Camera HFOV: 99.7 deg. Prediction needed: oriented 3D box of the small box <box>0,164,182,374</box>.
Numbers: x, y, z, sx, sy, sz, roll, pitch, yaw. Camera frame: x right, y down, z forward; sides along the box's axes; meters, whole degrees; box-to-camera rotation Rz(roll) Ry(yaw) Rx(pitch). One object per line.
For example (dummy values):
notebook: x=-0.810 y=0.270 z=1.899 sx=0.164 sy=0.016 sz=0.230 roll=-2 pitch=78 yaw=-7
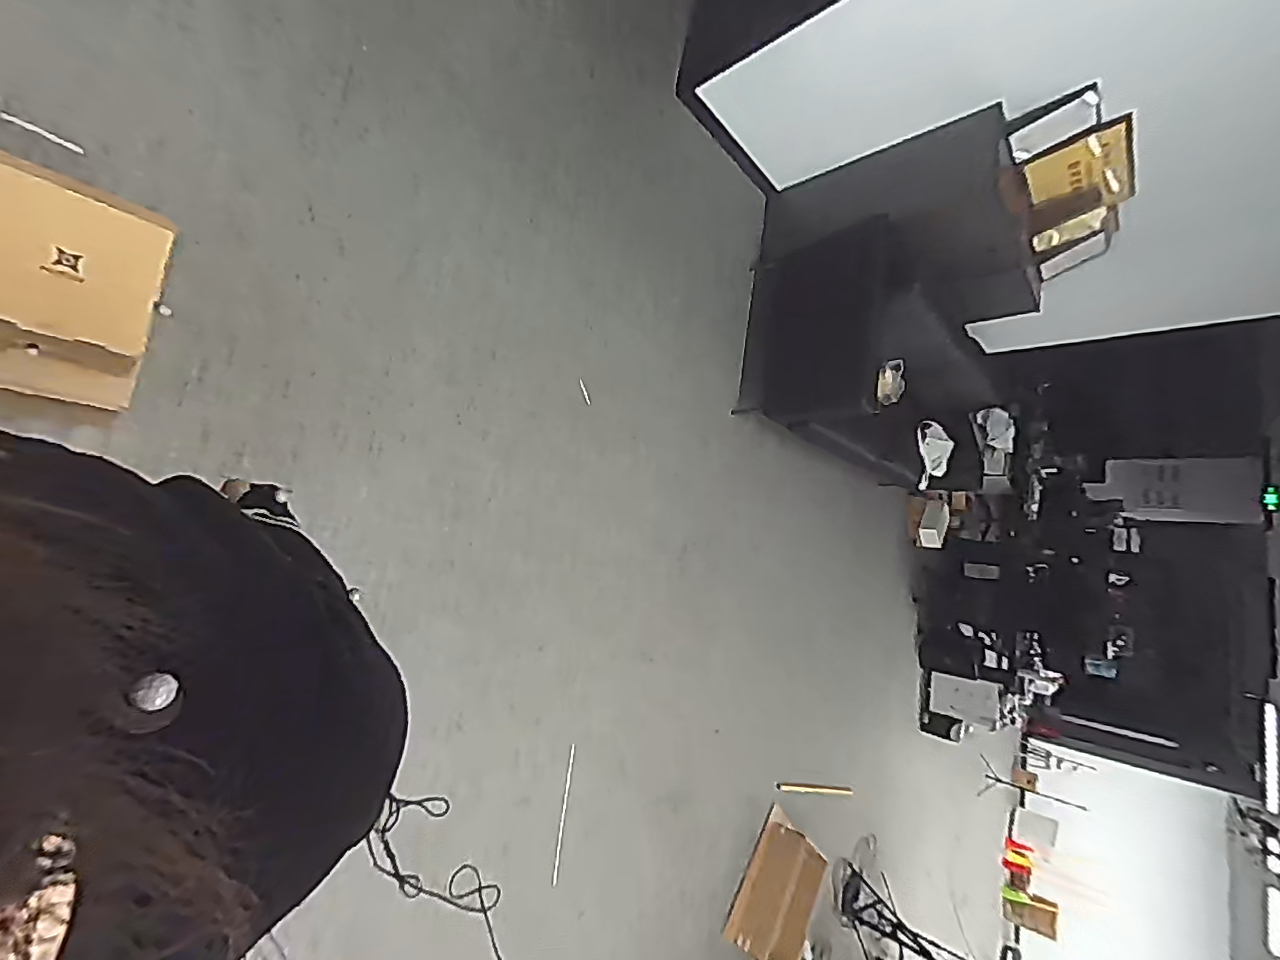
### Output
small box: x=-0.726 y=-0.252 z=0.697 sx=0.168 sy=0.176 sz=0.179 roll=15 pitch=80 yaw=-44
